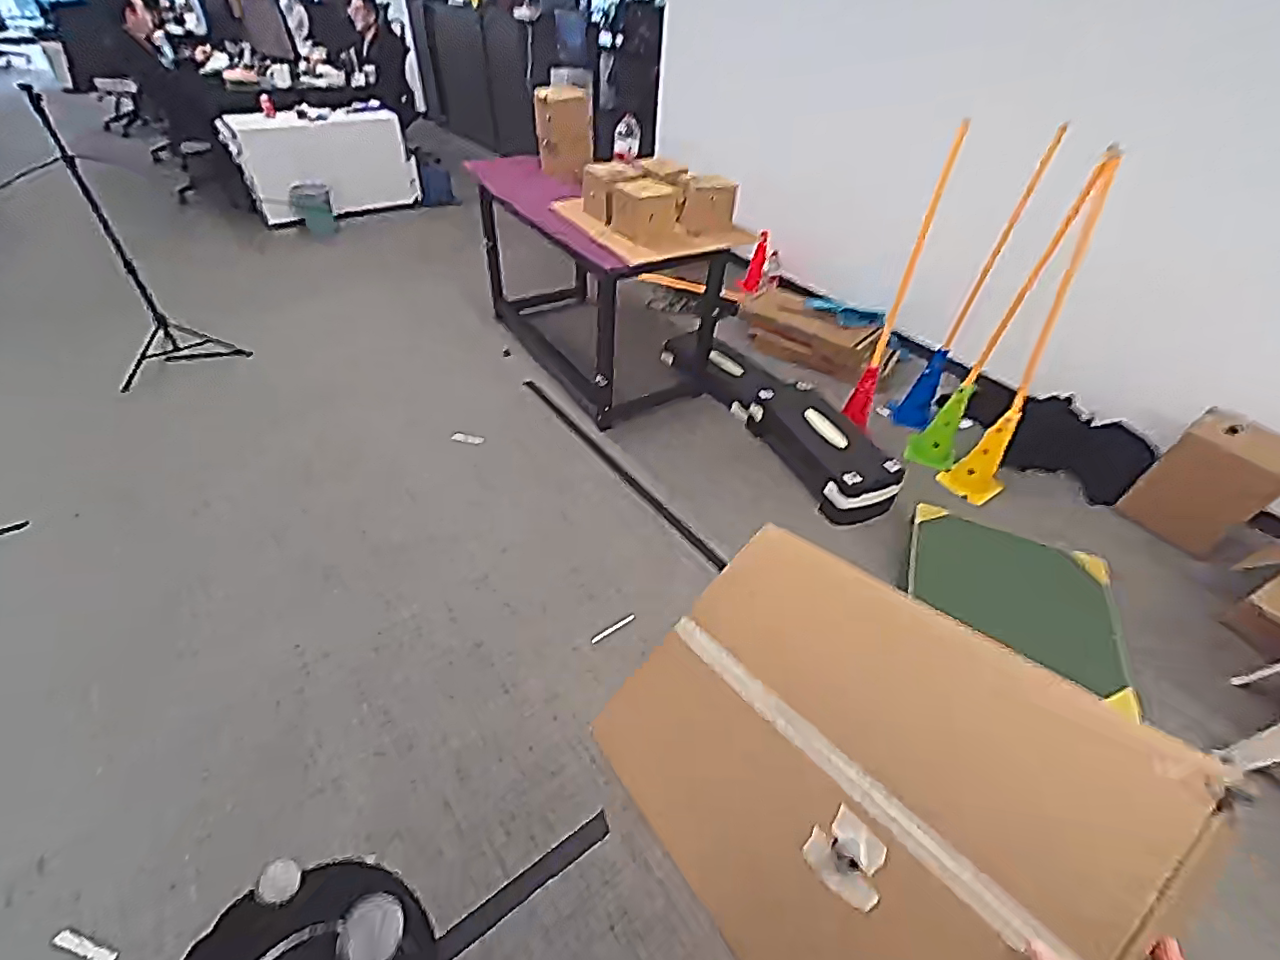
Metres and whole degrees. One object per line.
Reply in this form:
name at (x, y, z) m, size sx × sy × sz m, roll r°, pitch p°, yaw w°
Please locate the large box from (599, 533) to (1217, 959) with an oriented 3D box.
large box at (0.234, 0.323, 0.560) m, size 0.320 × 0.320 × 0.408 m, roll -47°, pitch 37°, yaw -9°
